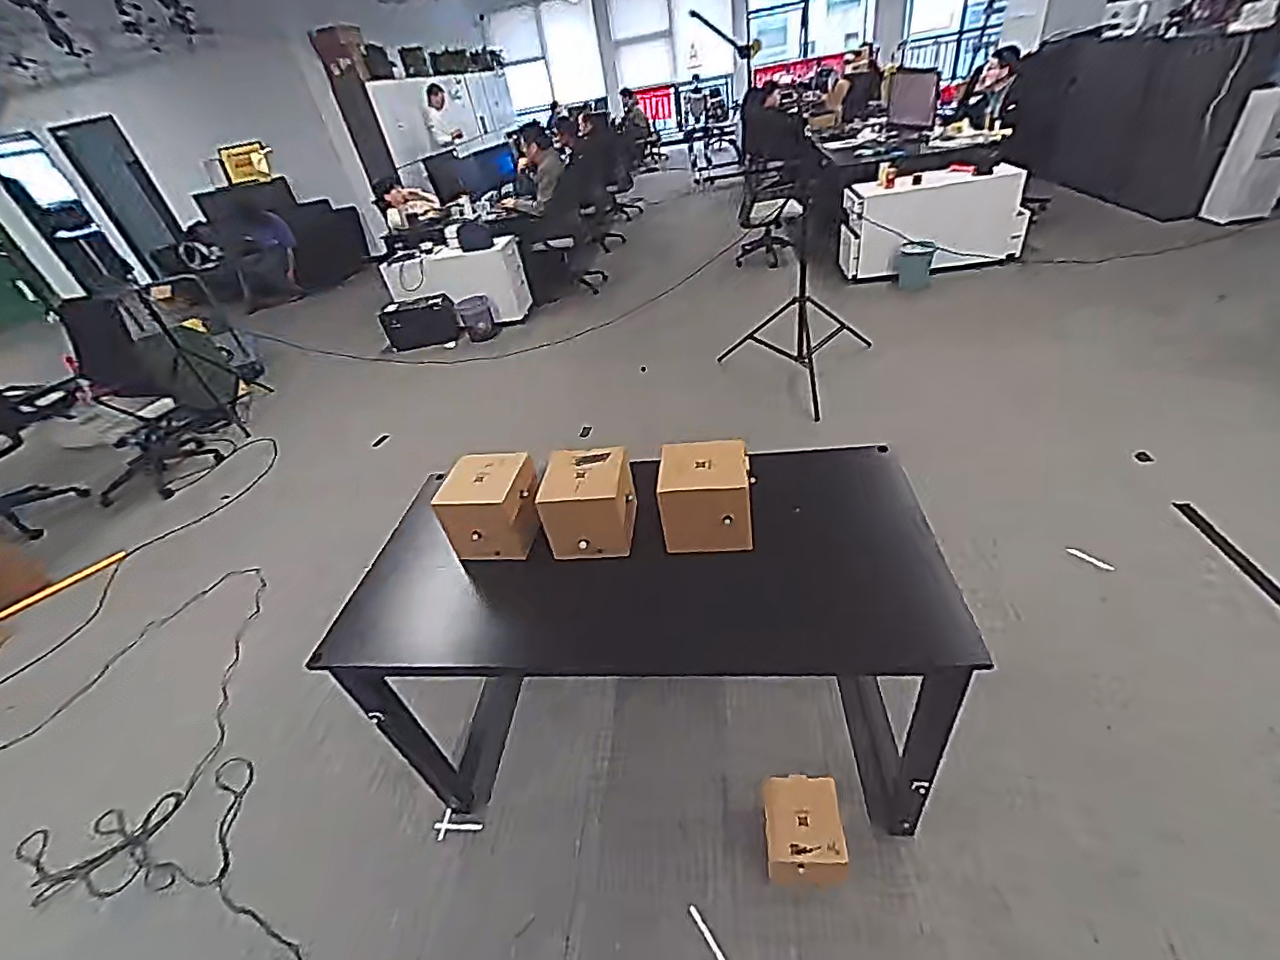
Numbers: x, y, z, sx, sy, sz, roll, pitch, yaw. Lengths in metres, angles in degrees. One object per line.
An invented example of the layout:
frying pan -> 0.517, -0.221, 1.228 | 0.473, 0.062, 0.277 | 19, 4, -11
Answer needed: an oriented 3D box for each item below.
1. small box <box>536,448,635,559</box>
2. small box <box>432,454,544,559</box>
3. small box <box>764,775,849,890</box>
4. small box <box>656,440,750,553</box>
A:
small box -> -0.107, 0.051, 1.171 | 0.168, 0.176, 0.179 | -4, 38, 10
small box -> -0.328, 0.062, 1.213 | 0.168, 0.176, 0.179 | -1, 38, 12
small box -> 0.377, 0.816, 1.256 | 0.168, 0.176, 0.179 | -5, 37, 10
small box -> 0.137, 0.037, 1.129 | 0.179, 0.176, 0.168 | -5, 36, 11
